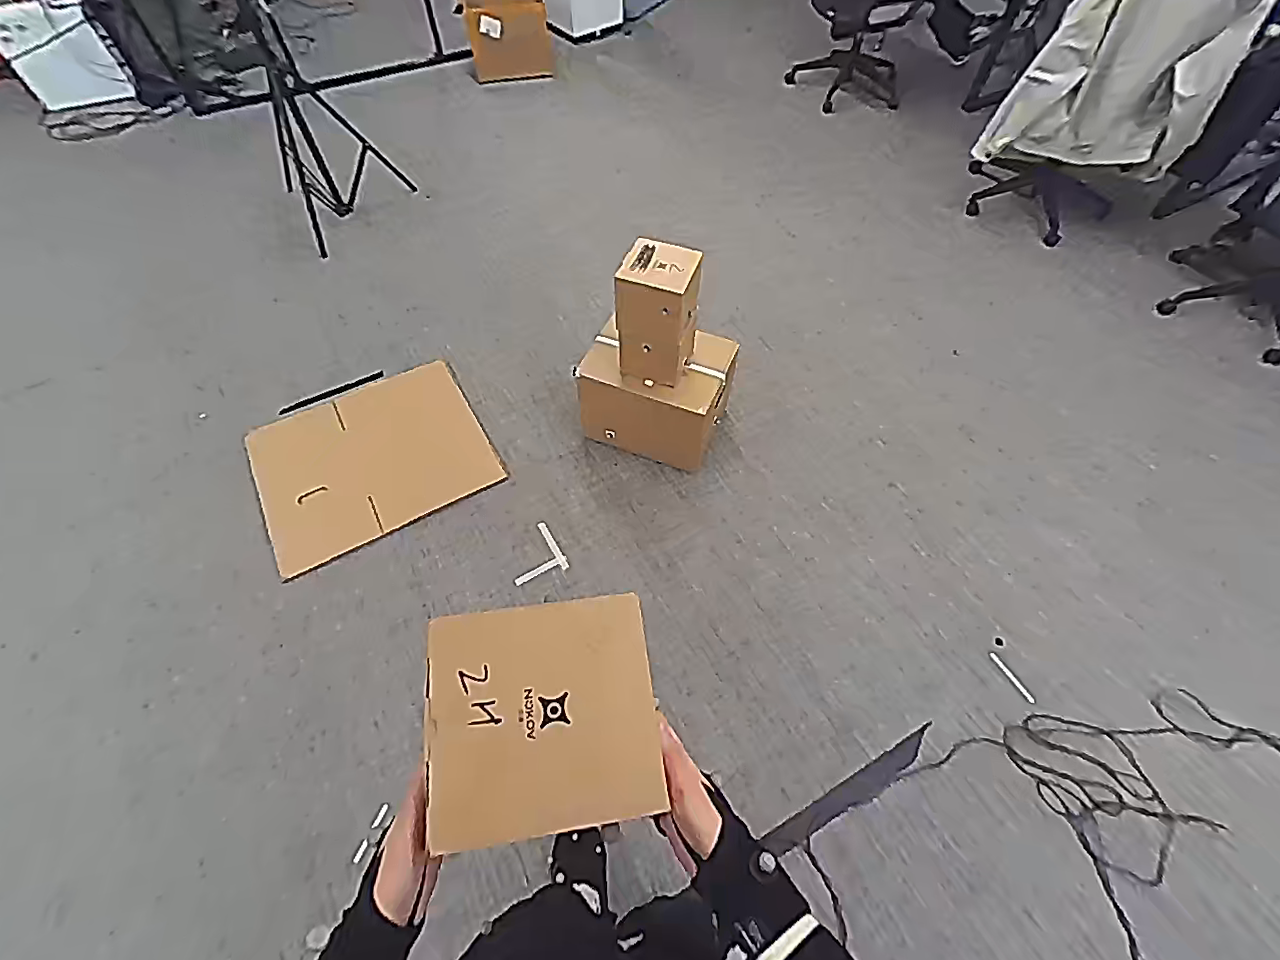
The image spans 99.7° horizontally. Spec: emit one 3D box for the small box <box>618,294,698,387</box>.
[{"bbox_3d":[0.049,-0.386,1.518,0.179,0.176,0.168,18,61,10],"label":"small box"}]

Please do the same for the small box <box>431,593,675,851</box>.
[{"bbox_3d":[-0.078,0.208,0.488,0.179,0.176,0.168,-5,66,-8],"label":"small box"}]
